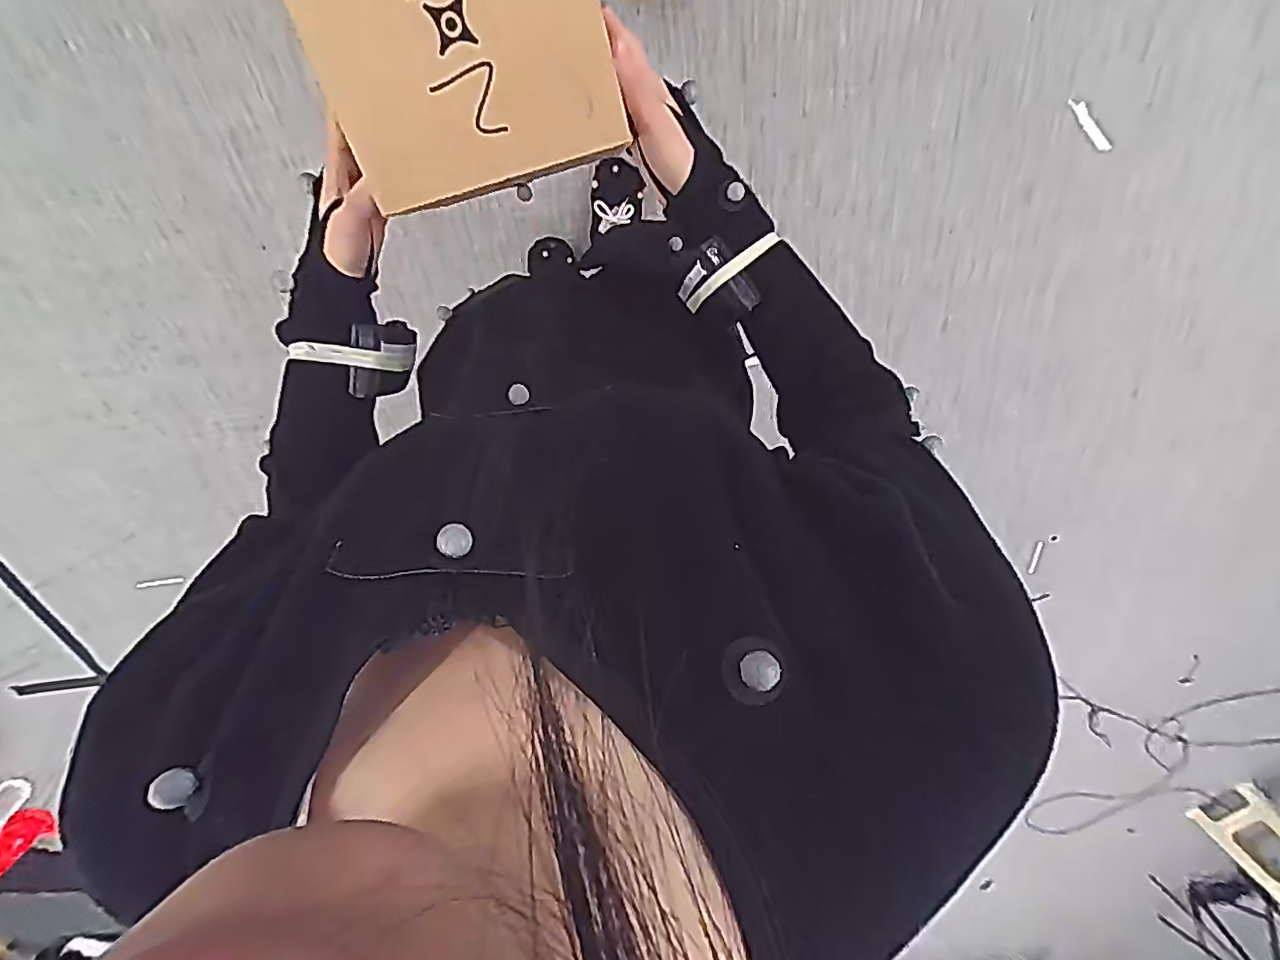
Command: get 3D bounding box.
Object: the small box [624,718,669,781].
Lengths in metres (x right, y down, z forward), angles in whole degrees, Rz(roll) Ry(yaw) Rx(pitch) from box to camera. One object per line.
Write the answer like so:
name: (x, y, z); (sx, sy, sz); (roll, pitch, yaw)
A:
small box: (0.025, 1.095, 2.209); (0.168, 0.176, 0.179); (-6, 122, 0)

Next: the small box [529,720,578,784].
small box: (-0.346, 1.091, 2.175); (0.179, 0.176, 0.168); (6, 120, -9)
